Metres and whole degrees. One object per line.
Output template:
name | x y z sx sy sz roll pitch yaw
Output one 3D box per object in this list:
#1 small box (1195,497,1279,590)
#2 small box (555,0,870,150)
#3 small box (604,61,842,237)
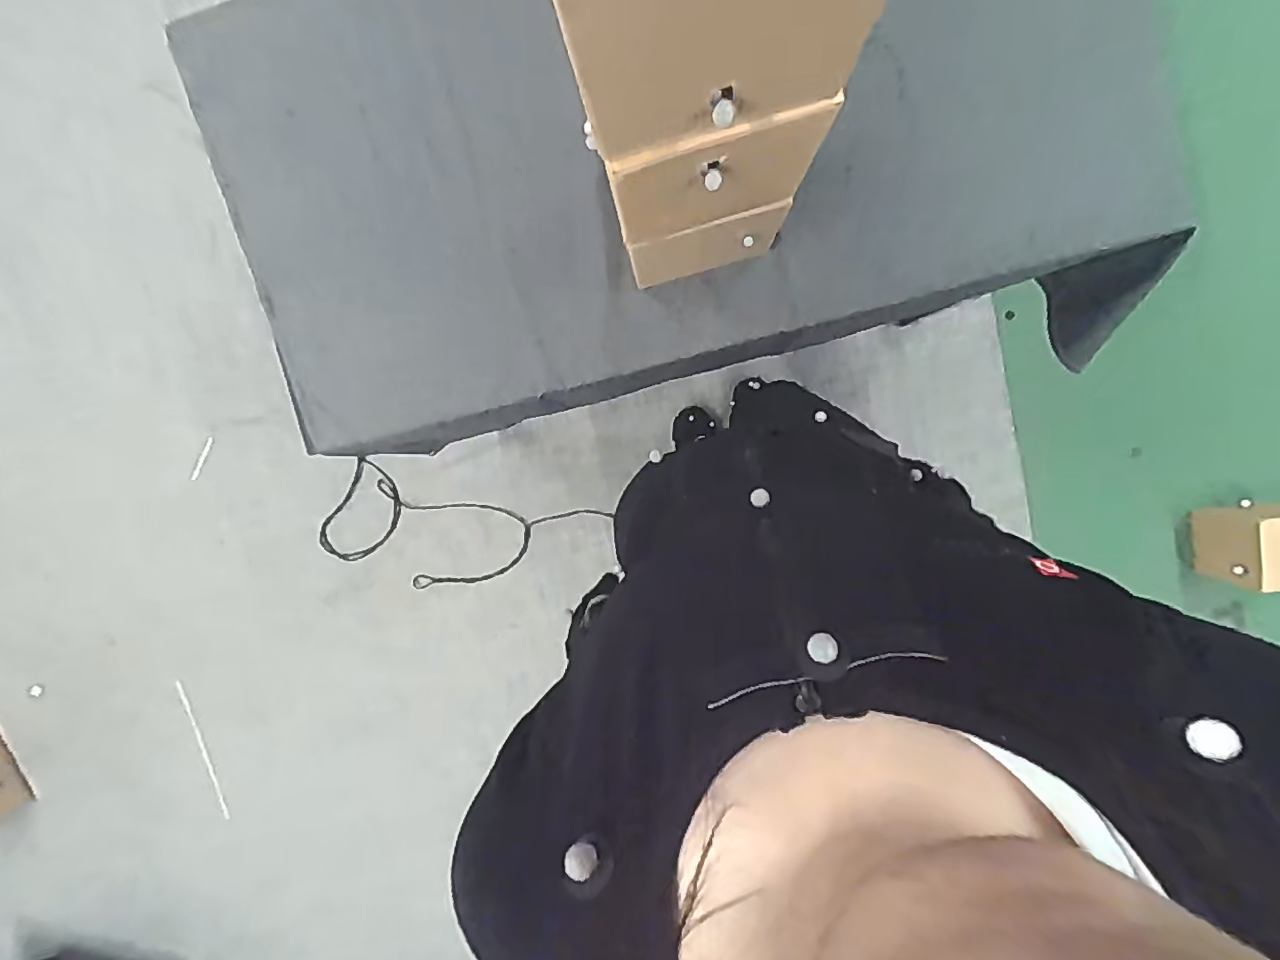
small box | 1.511 0.148 1.309 0.168 0.176 0.179 -10 95 5
small box | 0.032 -0.325 0.304 0.179 0.176 0.168 -13 95 5
small box | 0.047 -0.338 0.466 0.179 0.176 0.168 -15 95 6
